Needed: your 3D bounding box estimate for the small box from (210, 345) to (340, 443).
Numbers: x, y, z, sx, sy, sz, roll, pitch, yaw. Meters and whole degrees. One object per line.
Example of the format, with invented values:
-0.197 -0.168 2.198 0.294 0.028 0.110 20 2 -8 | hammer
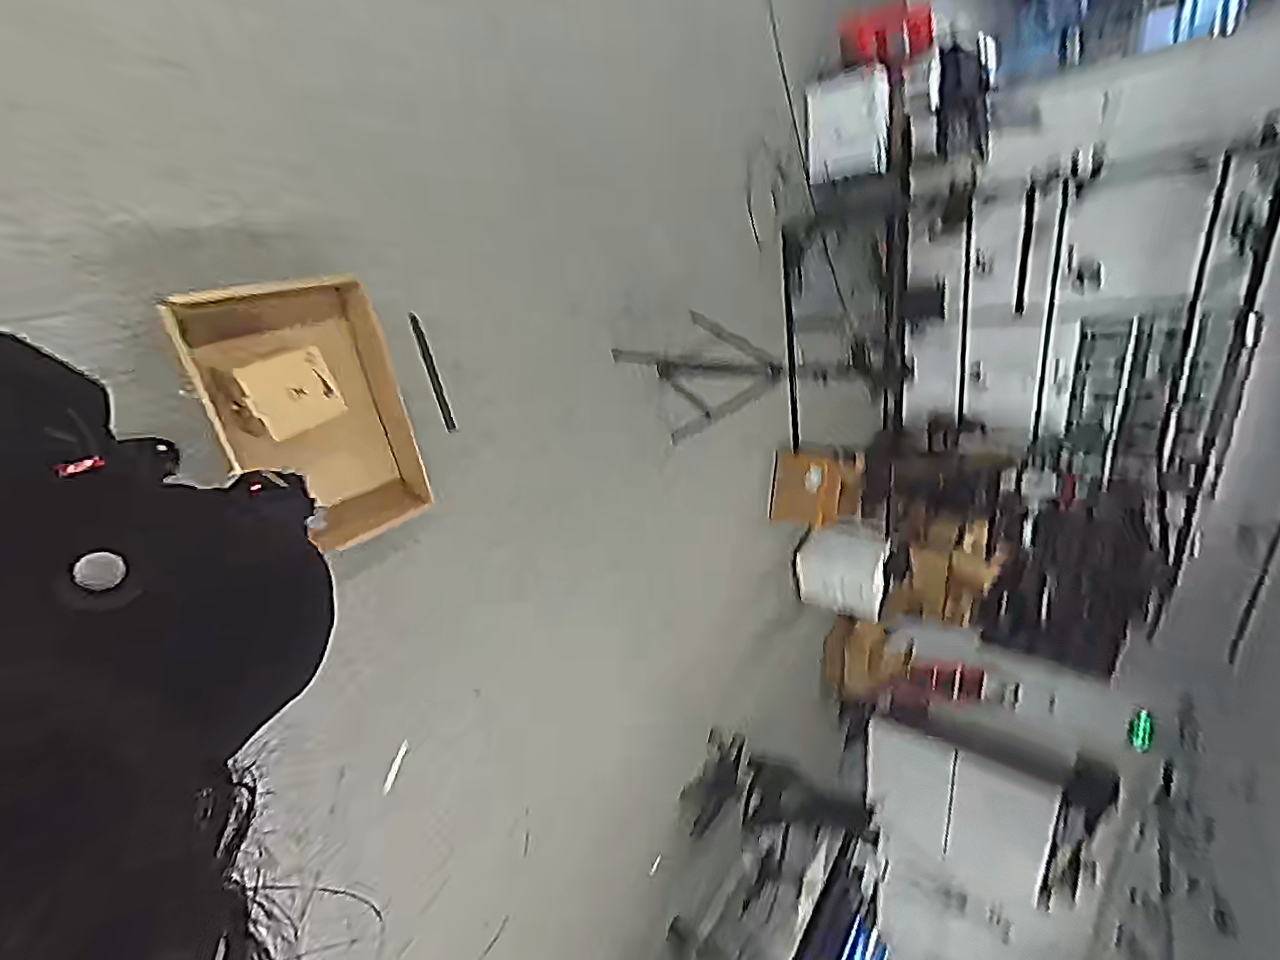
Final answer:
-0.827 -0.200 1.219 0.179 0.176 0.168 -38 129 -41 | small box
